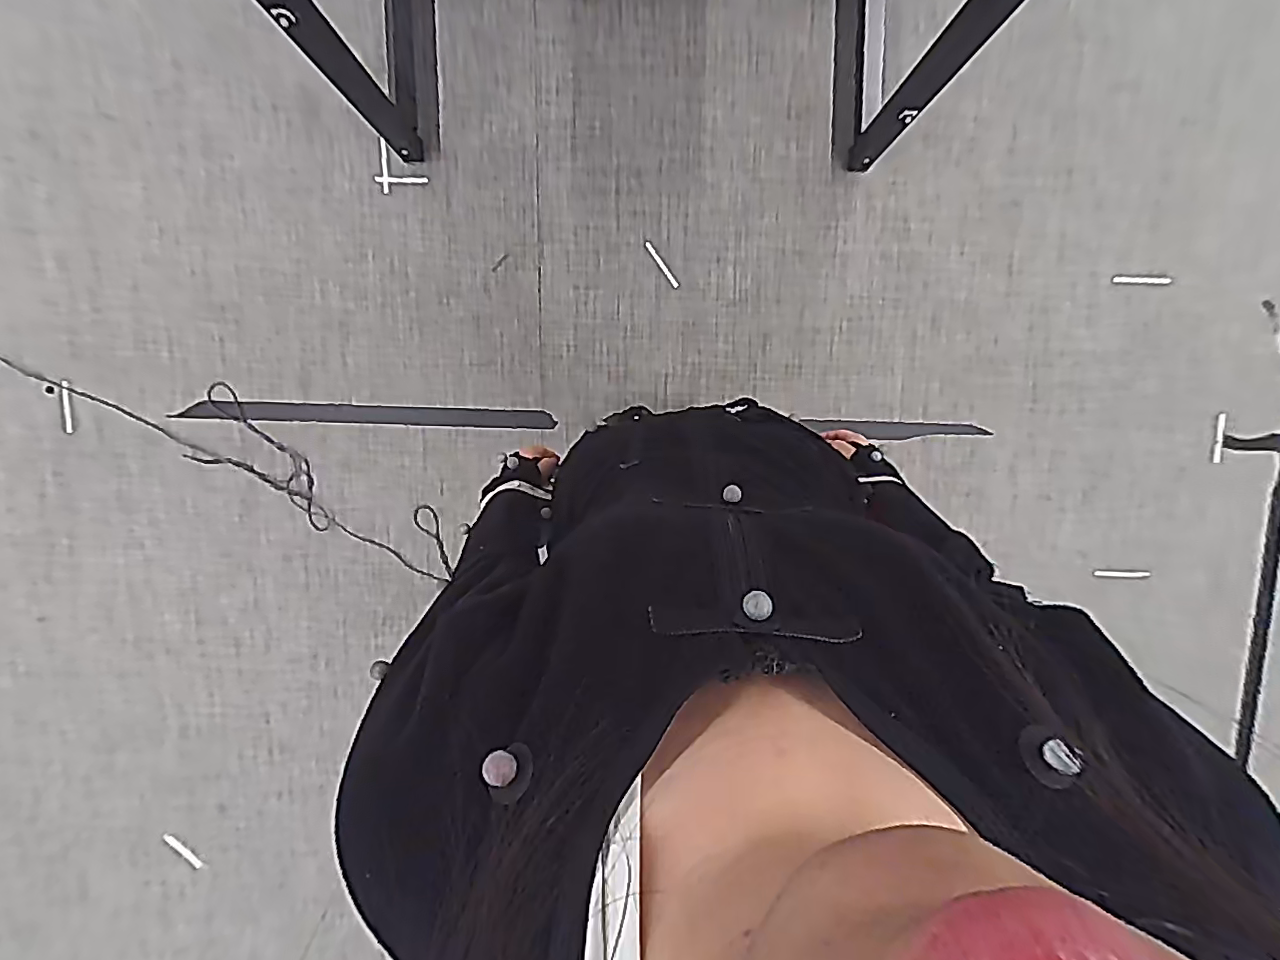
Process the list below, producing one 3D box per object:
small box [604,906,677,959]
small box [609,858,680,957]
[{"bbox_3d":[0.007,1.241,1.370,0.168,0.176,0.179,-13,97,-1],"label":"small box"},{"bbox_3d":[0.010,1.215,1.533,0.168,0.176,0.179,-13,96,0],"label":"small box"}]
